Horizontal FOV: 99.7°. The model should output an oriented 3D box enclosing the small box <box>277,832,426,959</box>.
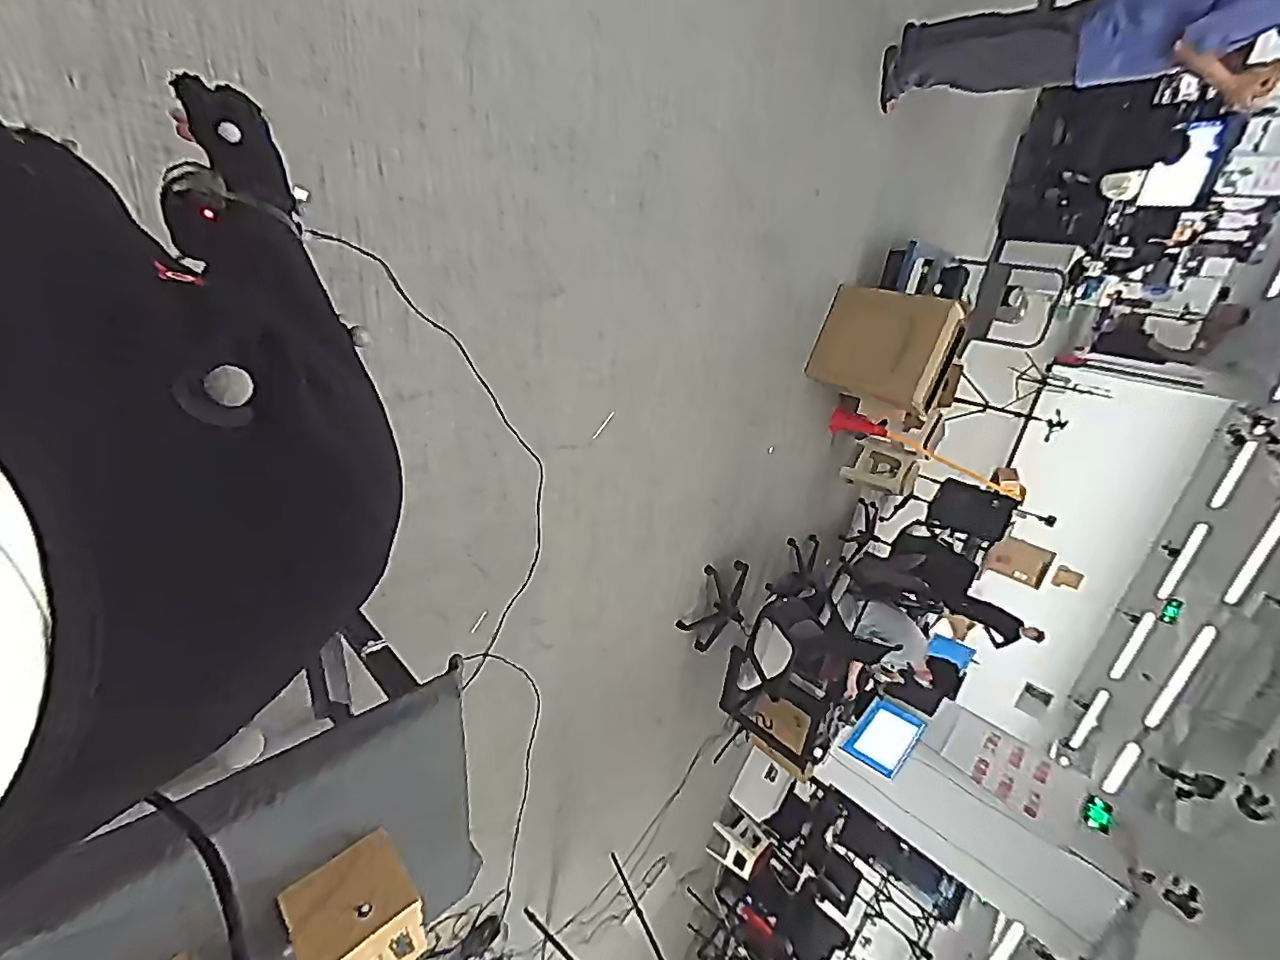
[{"bbox_3d":[-0.507,0.782,0.959,0.179,0.176,0.168,-20,124,-41],"label":"small box"}]
